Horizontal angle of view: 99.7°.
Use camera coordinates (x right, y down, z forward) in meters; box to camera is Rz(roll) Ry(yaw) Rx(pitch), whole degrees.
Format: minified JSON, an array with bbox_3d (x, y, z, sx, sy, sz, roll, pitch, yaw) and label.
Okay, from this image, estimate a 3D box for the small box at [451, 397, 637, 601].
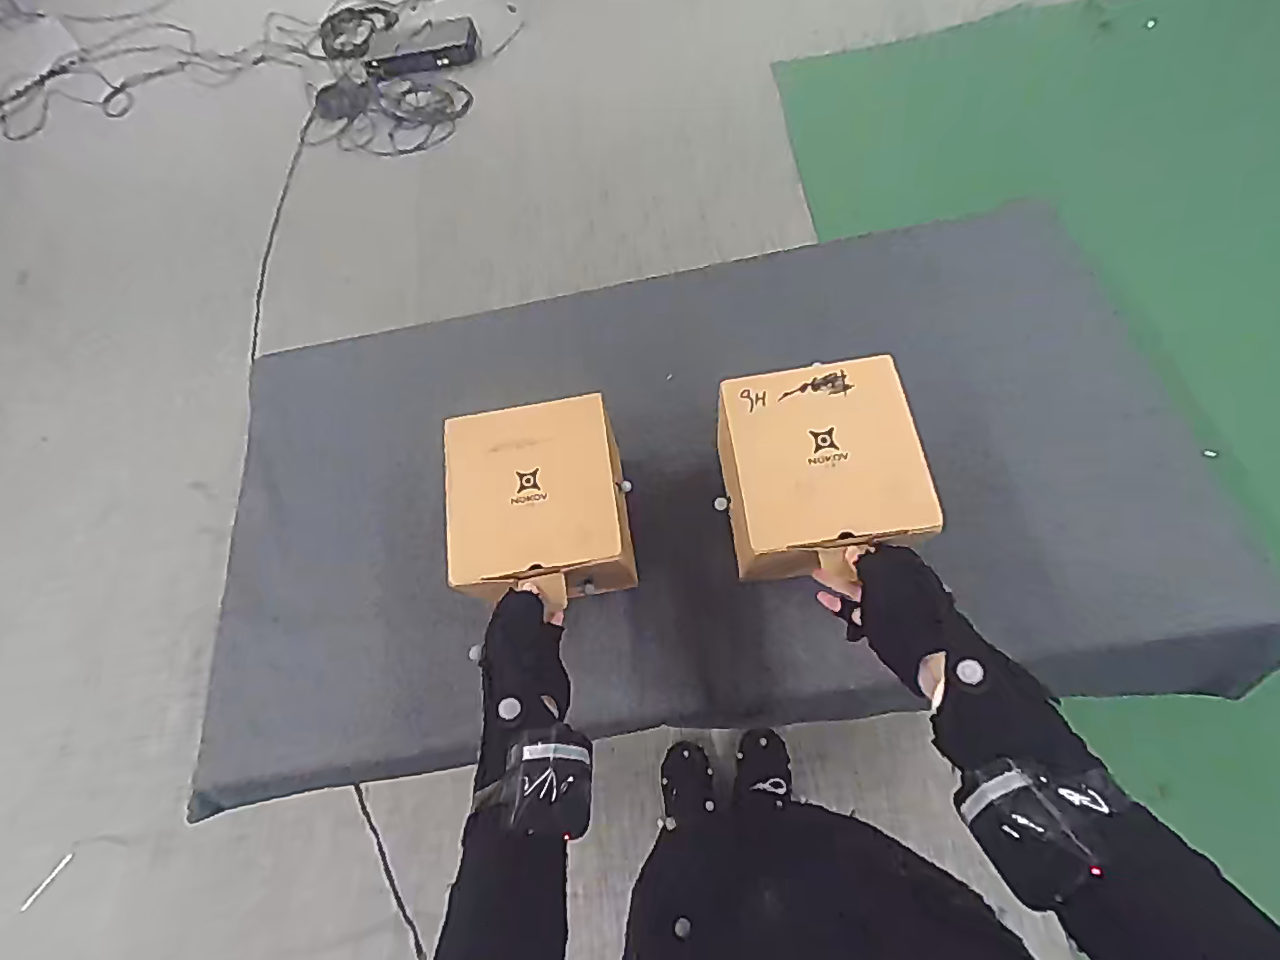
[{"bbox_3d":[-0.100,0.034,0.609,0.168,0.176,0.179,-10,68,0],"label":"small box"}]
